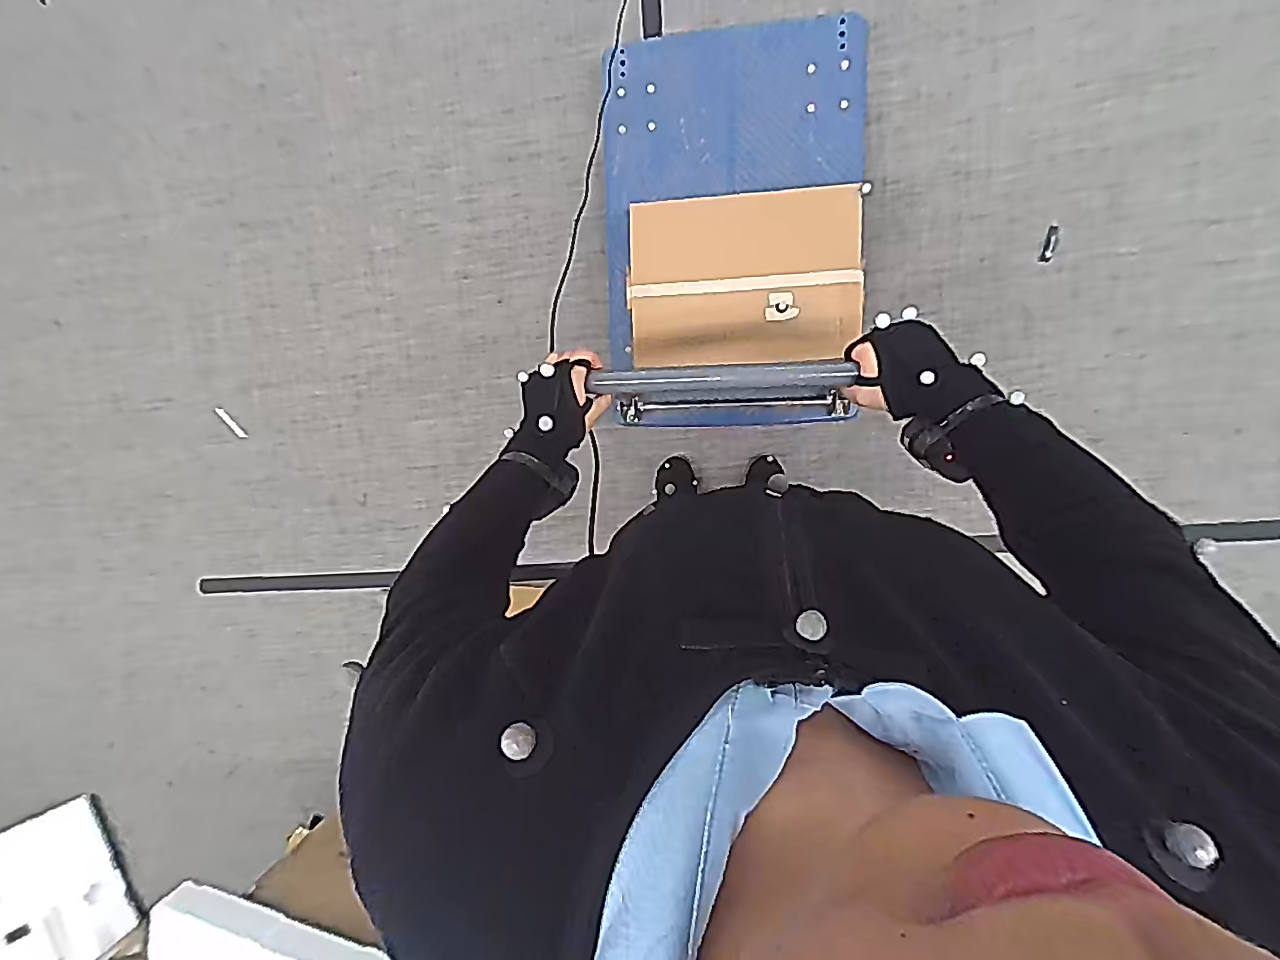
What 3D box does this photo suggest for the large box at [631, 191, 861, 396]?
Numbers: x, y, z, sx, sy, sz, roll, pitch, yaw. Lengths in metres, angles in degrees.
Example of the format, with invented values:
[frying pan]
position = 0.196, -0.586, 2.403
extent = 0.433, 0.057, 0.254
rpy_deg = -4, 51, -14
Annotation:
[large box]
position = 0.204, -0.349, 1.110
extent = 0.408, 0.320, 0.320
rpy_deg = -1, 95, 8
